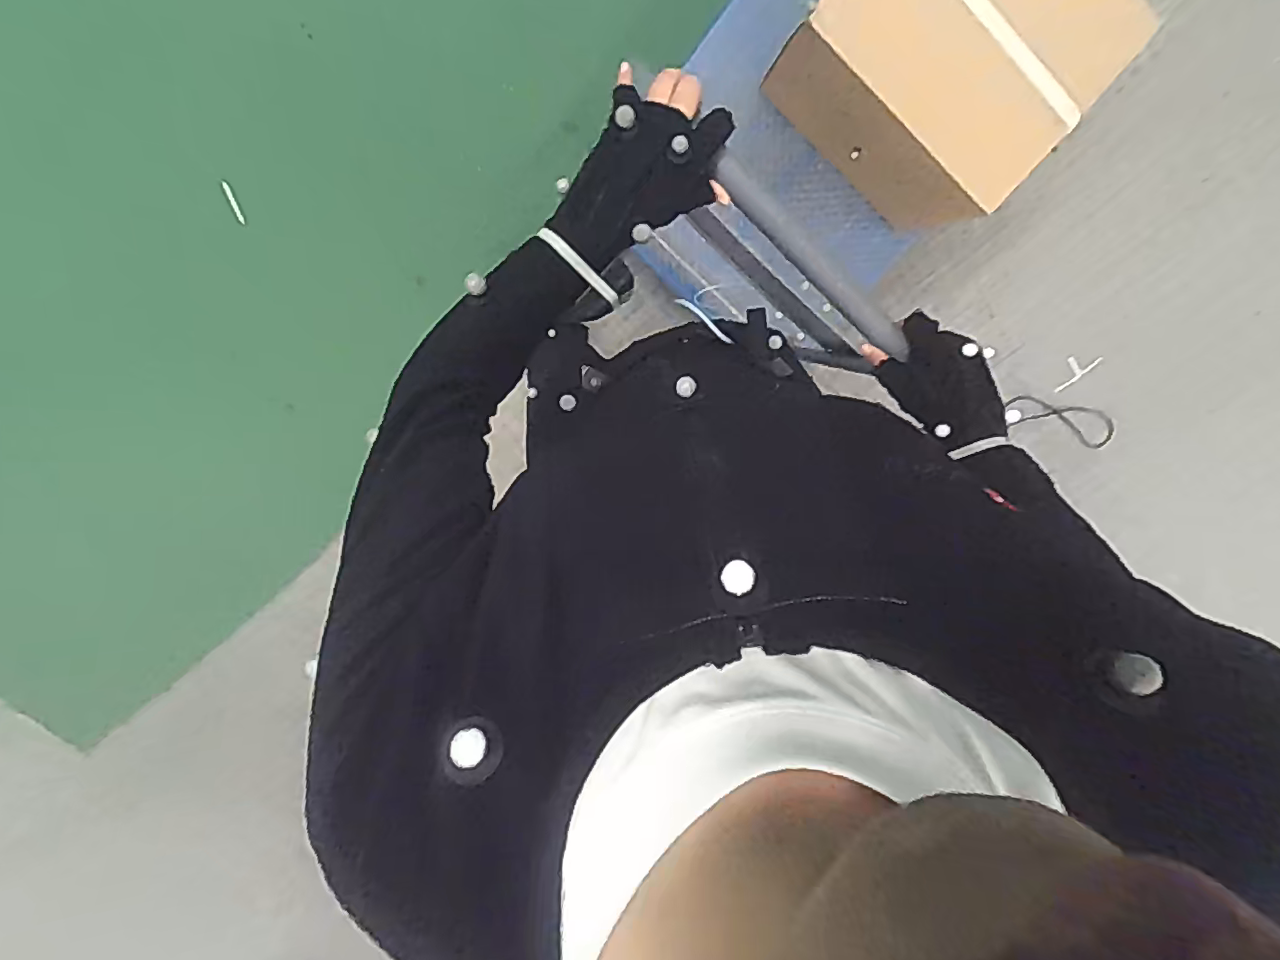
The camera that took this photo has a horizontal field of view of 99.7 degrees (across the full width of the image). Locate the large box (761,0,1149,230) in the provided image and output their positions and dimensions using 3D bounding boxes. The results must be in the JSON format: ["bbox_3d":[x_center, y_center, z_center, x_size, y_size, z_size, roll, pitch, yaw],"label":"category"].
[{"bbox_3d":[0.473,-0.687,0.902,0.408,0.320,0.320,37,105,-12],"label":"large box"}]
